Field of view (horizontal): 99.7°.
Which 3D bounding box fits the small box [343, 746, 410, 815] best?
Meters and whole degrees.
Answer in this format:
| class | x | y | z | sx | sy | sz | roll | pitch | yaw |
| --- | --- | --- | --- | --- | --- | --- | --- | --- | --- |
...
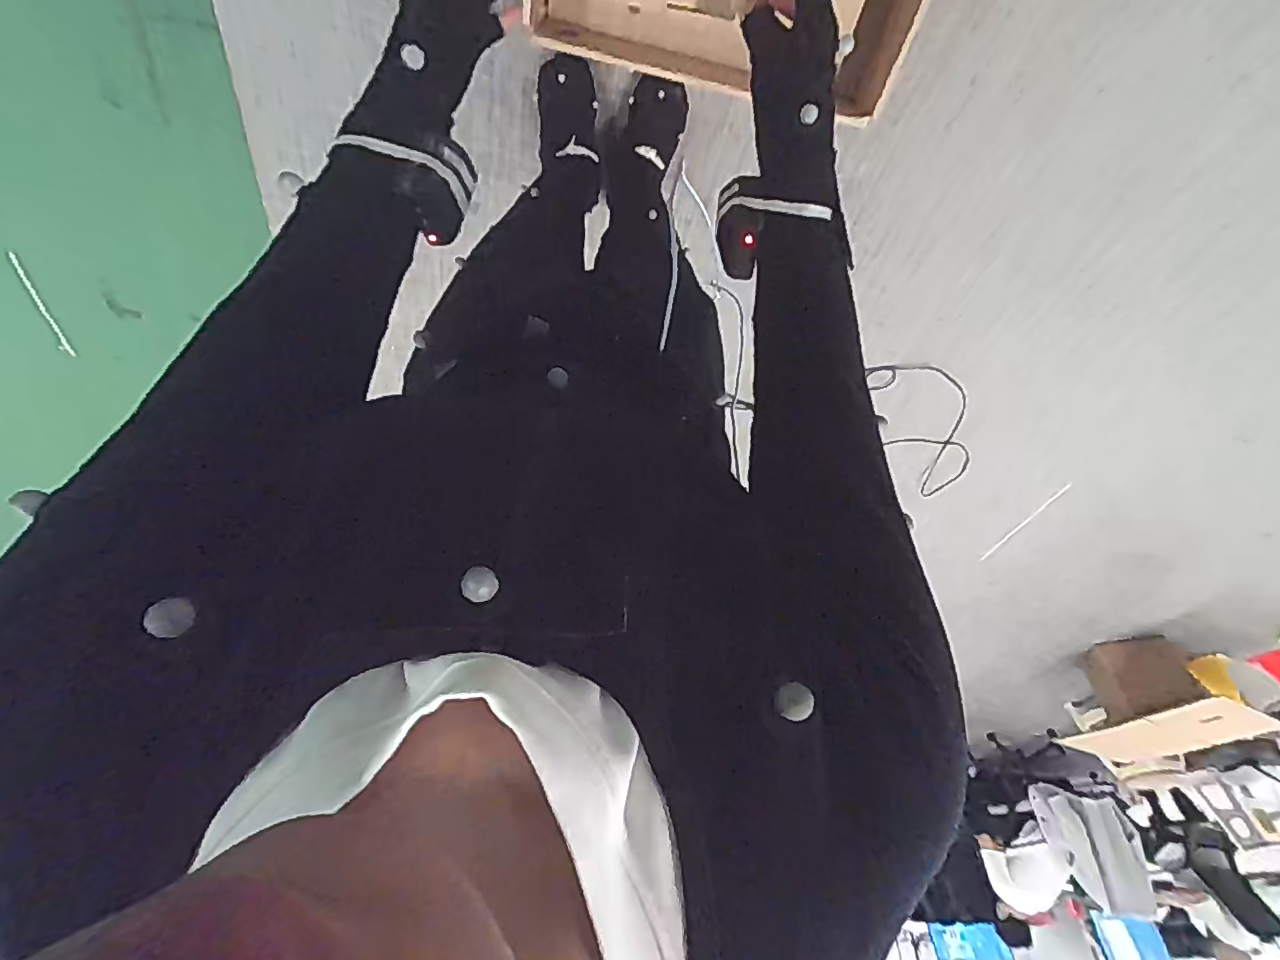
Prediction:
| class | x | y | z | sx | sy | sz | roll | pitch | yaw |
| --- | --- | --- | --- | --- | --- | --- | --- | --- | --- |
| small box | -0.906 | 1.038 | 1.867 | 0.168 | 0.176 | 0.179 | 15 | 136 | -12 |
